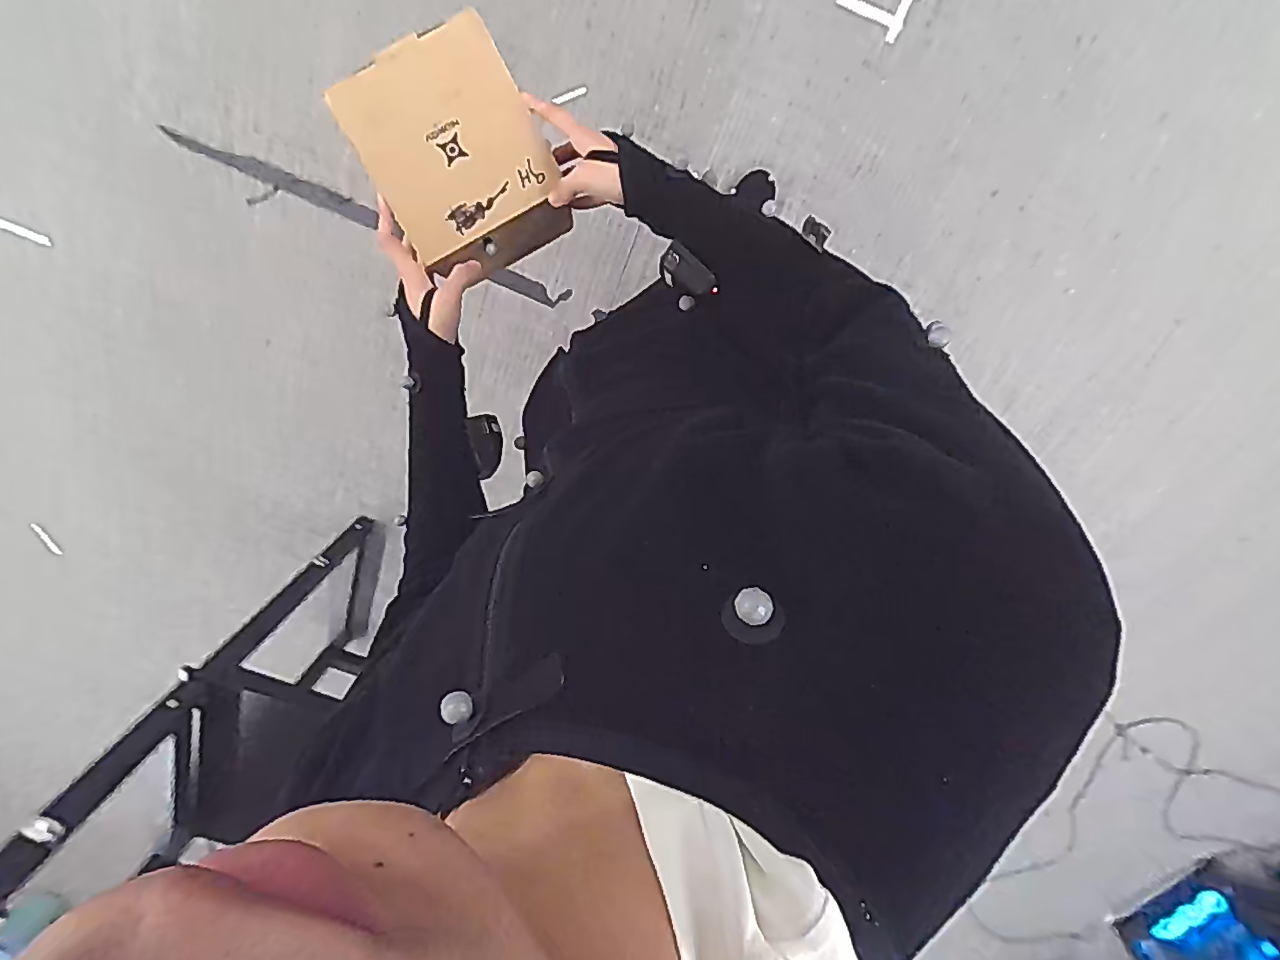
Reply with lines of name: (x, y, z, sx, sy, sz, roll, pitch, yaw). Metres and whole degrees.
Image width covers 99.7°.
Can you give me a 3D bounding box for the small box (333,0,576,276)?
small box: (-0.181, -0.347, 0.588, 0.168, 0.176, 0.179, -27, 104, 1)
